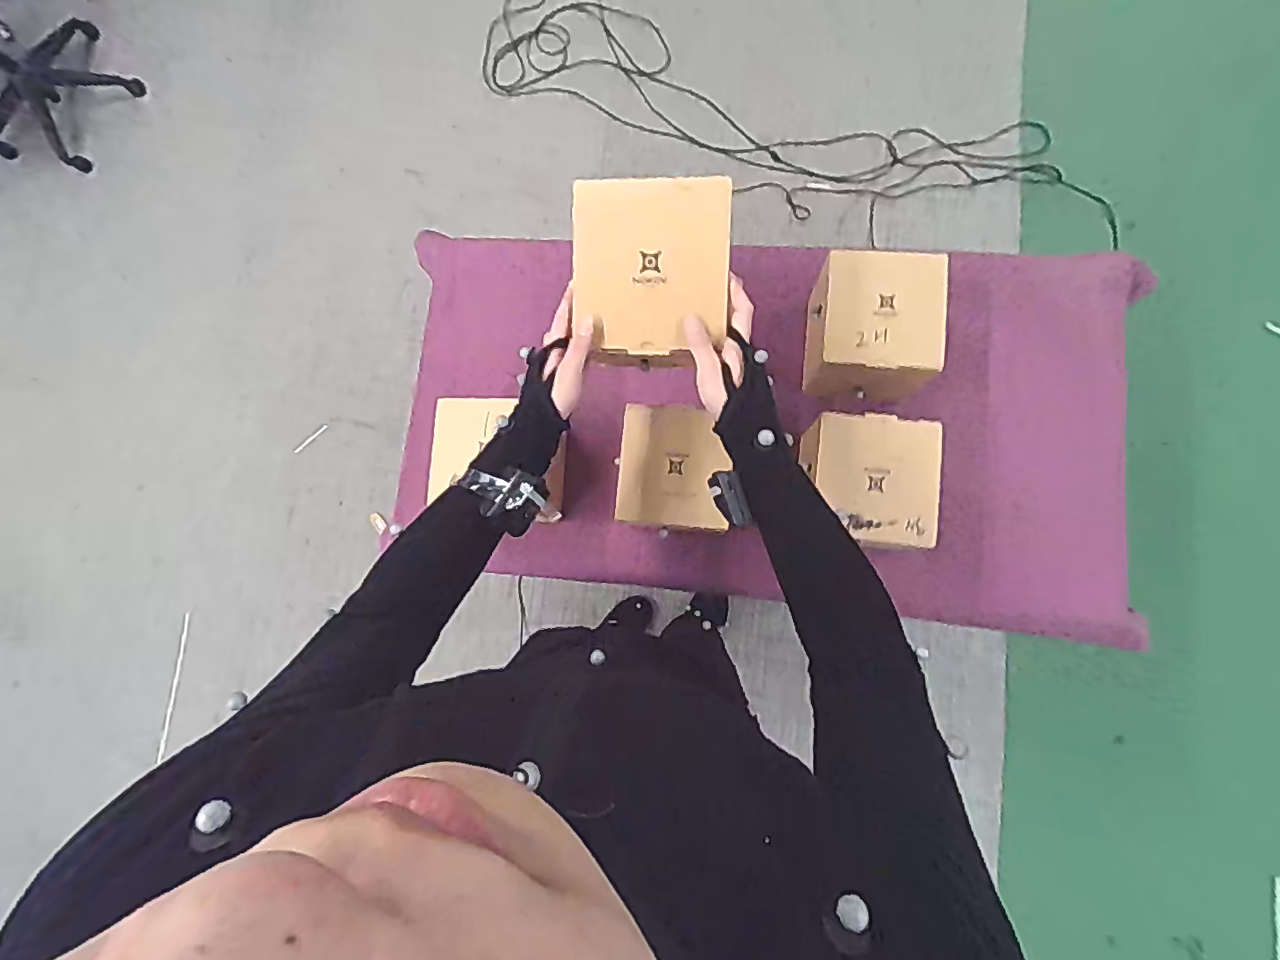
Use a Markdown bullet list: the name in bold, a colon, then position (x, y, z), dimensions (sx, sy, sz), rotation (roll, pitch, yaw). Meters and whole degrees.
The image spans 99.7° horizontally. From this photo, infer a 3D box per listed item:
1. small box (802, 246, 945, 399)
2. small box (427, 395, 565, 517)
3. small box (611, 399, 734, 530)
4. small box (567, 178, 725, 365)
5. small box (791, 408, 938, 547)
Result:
- **small box**: position (0.356, -0.241, 0.852), dimensions (0.168, 0.176, 0.179), rotation (6, 84, 9)
- **small box**: position (-0.228, -0.032, 0.896), dimensions (0.168, 0.176, 0.179), rotation (2, 81, 7)
- **small box**: position (0.057, -0.017, 0.862), dimensions (0.168, 0.176, 0.179), rotation (5, 84, 9)
- **small box**: position (0.012, -0.233, 0.643), dimensions (0.168, 0.176, 0.179), rotation (1, 99, 7)
- **small box**: position (0.330, 0.003, 0.823), dimensions (0.168, 0.176, 0.179), rotation (7, 82, 9)
